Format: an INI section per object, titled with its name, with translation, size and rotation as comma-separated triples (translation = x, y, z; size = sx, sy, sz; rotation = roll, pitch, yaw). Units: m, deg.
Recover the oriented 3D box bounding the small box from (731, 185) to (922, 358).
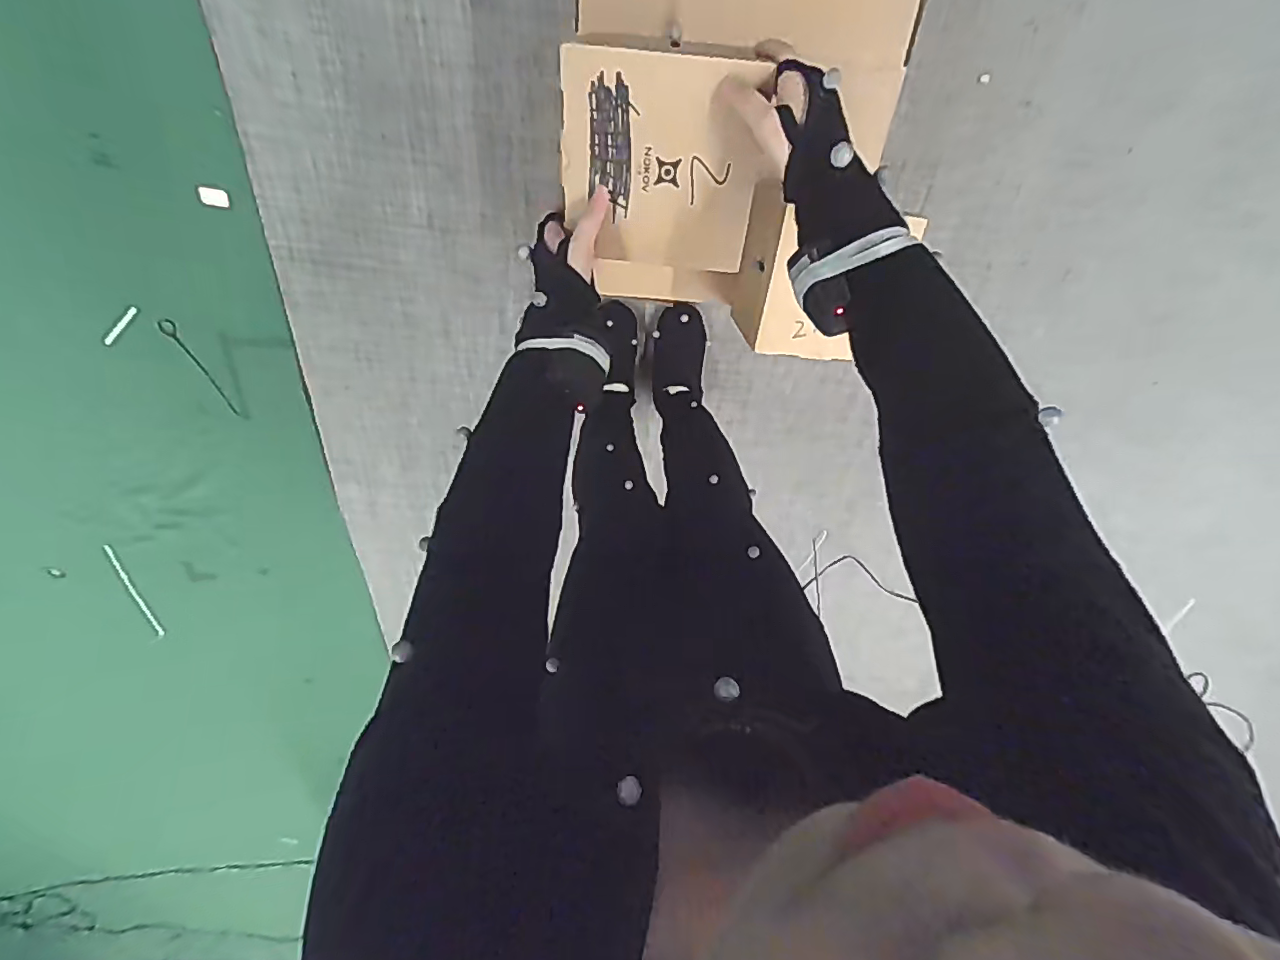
[small box]
translation = 0.226, -0.279, 0.712
size = 0.168, 0.176, 0.179
rotation = 4, 123, -5
